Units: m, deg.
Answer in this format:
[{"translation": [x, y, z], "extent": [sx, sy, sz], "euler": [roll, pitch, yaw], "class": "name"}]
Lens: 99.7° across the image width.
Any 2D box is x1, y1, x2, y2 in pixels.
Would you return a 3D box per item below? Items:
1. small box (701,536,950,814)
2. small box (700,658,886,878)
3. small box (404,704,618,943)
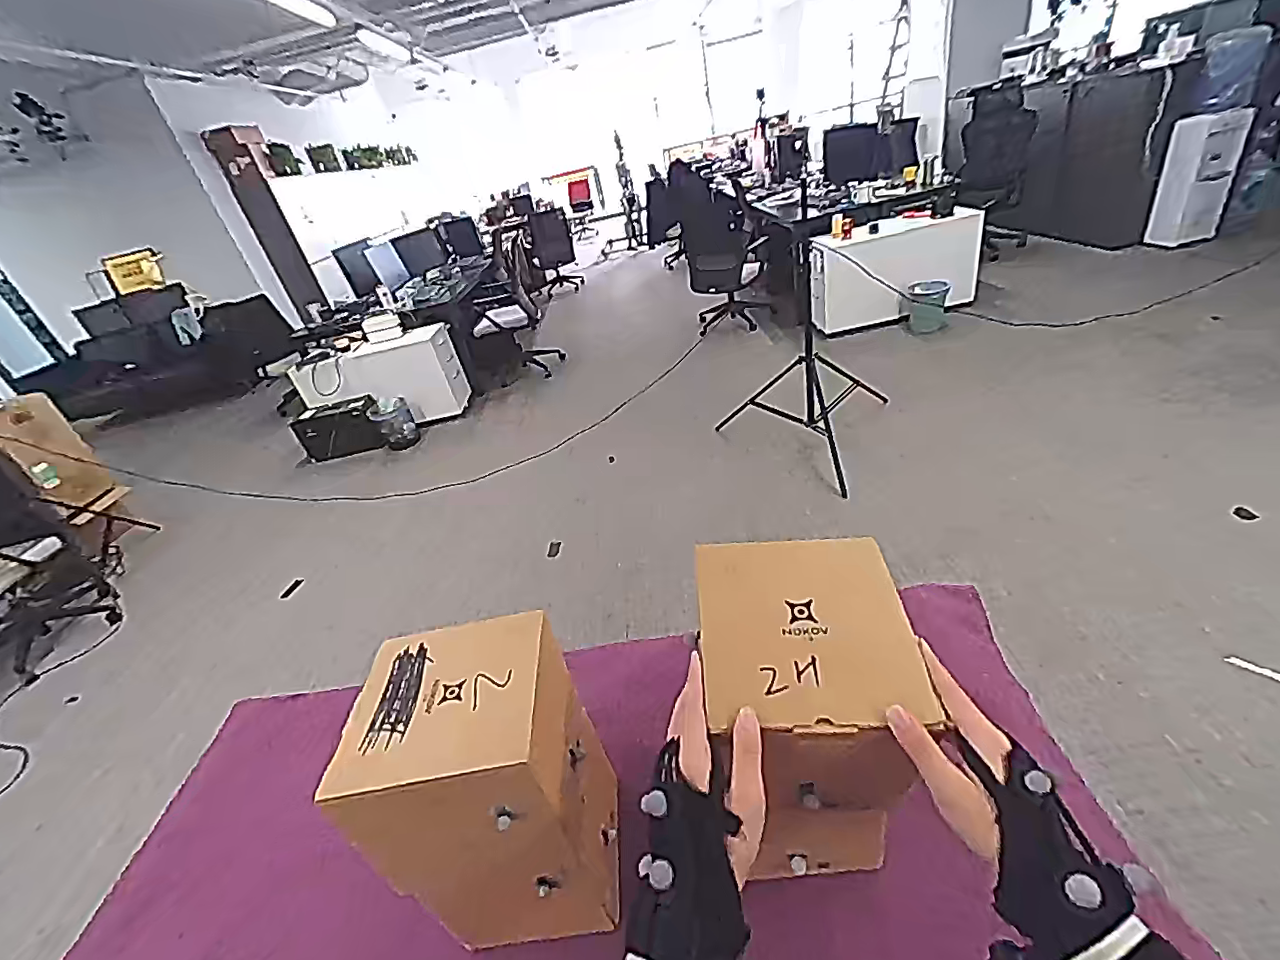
[{"translation": [0.140, 0.171, 0.484], "extent": [0.168, 0.176, 0.179], "euler": [-3, 41, 6], "class": "small box"}, {"translation": [0.165, 0.315, 0.618], "extent": [0.168, 0.176, 0.179], "euler": [-10, 33, 7], "class": "small box"}, {"translation": [-0.129, 0.391, 0.617], "extent": [0.179, 0.176, 0.168], "euler": [-11, 31, 3], "class": "small box"}]
